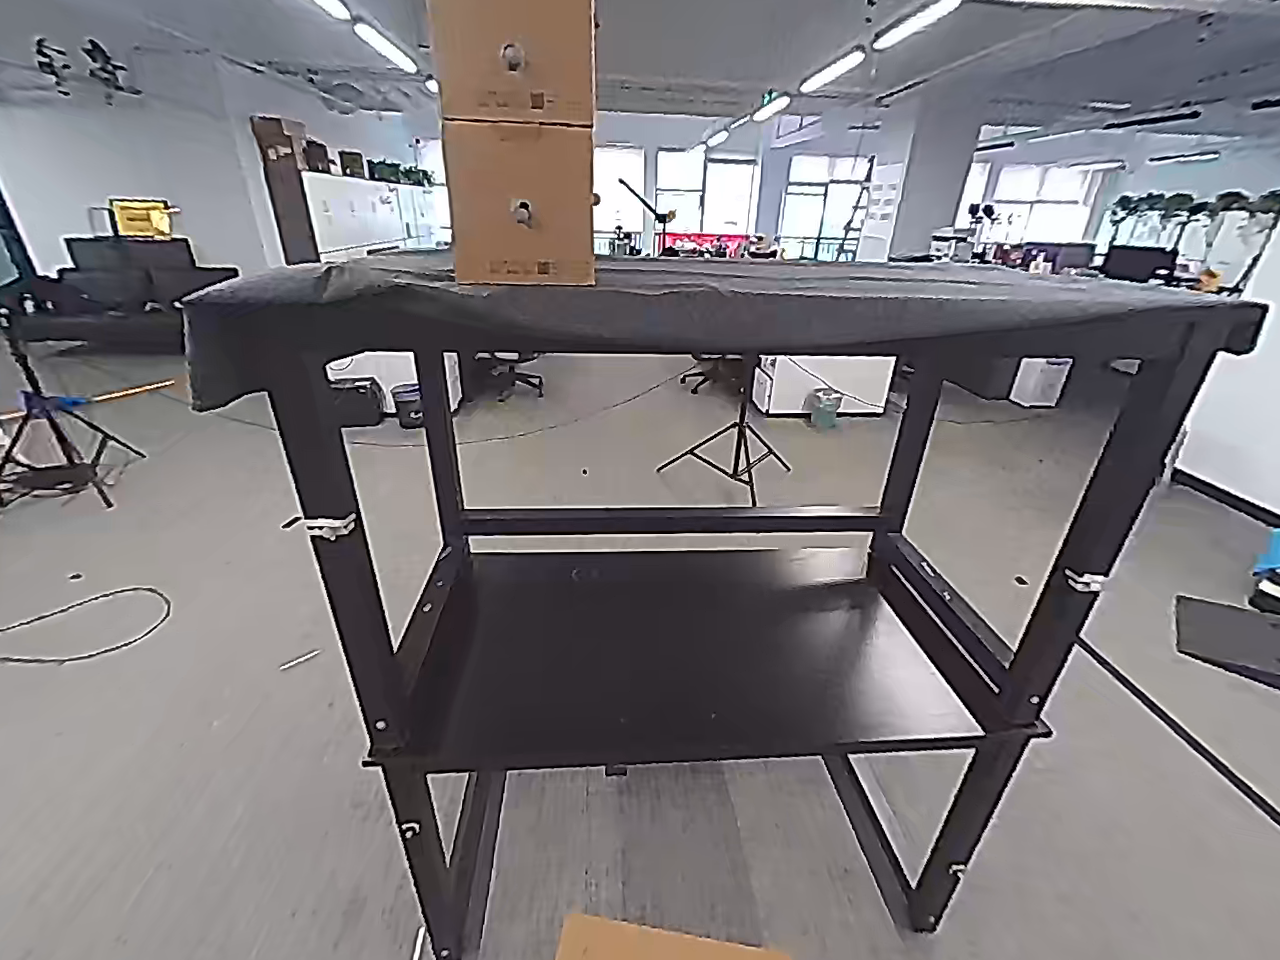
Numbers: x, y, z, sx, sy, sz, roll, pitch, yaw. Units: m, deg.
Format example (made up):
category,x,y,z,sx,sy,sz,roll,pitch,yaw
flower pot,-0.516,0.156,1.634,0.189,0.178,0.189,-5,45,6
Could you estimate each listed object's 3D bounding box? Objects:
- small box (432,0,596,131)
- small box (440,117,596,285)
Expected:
category,x,y,z,sx,sy,sz,roll,pitch,yaw
small box,-0.137,-0.494,0.617,0.168,0.176,0.179,-3,25,-7
small box,-0.143,-0.344,0.685,0.168,0.176,0.179,-2,26,-8
